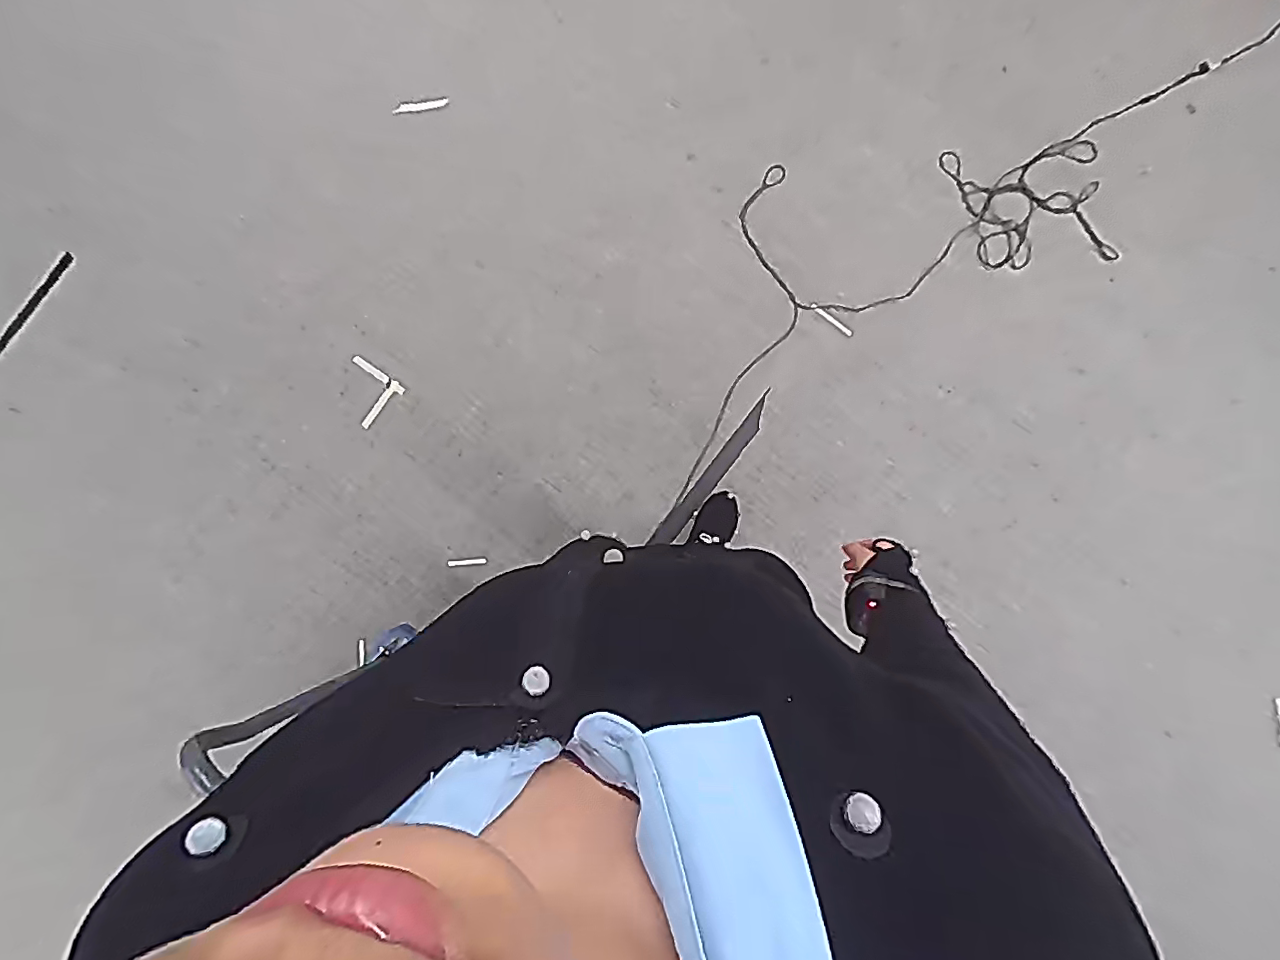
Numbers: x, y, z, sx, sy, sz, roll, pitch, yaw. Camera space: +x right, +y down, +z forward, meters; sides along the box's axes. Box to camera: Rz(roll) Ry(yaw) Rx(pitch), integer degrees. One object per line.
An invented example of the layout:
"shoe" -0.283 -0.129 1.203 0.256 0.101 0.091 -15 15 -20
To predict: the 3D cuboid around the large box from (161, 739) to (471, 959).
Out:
"large box" -0.649 0.853 1.156 0.408 0.320 0.320 39 89 2
